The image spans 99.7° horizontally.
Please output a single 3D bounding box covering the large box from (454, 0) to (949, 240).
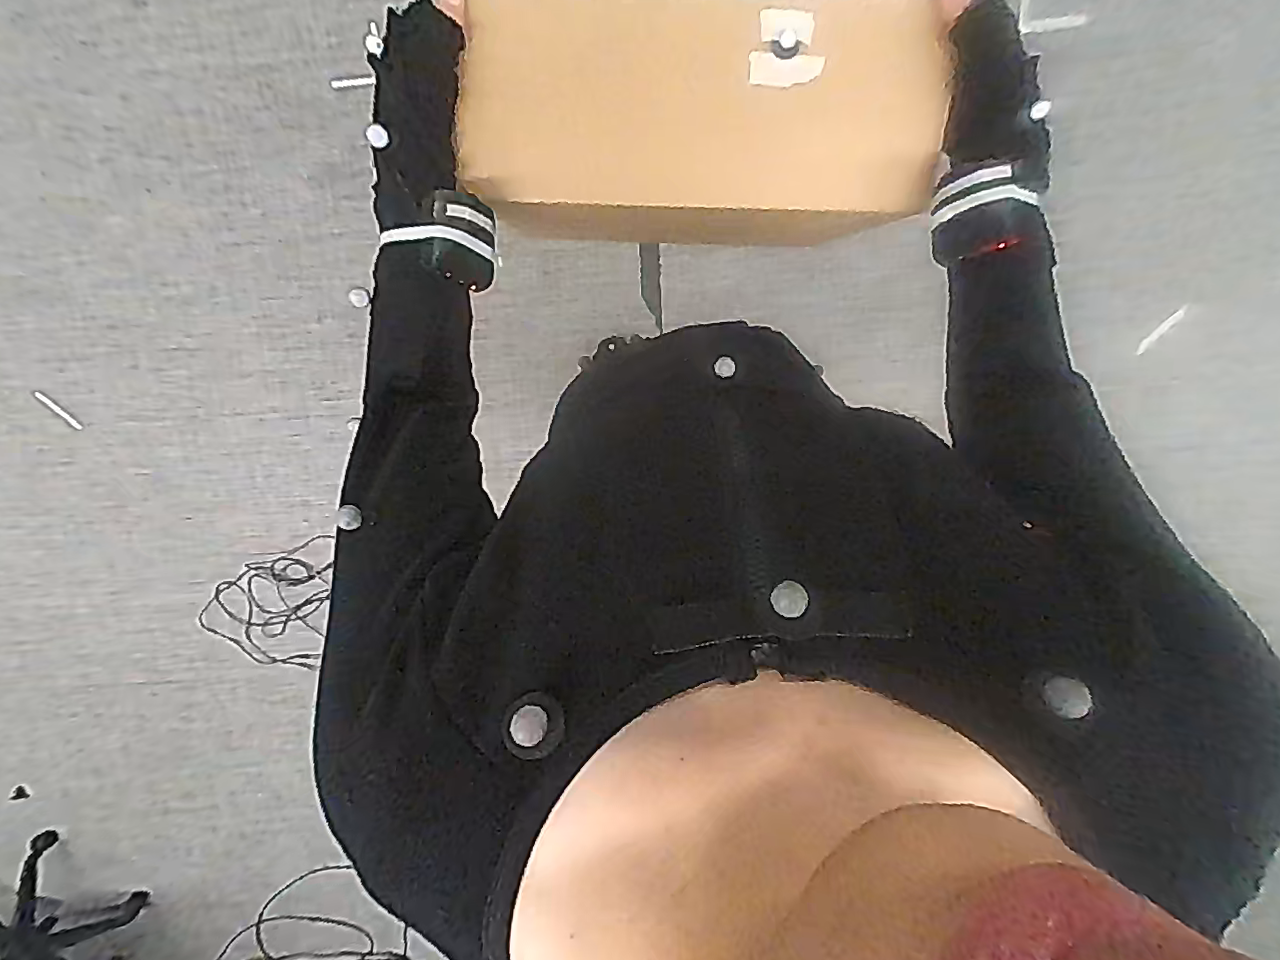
[{"bbox_3d":[0.046,-0.437,0.568,0.408,0.320,0.320,1,109,-2],"label":"large box"}]
